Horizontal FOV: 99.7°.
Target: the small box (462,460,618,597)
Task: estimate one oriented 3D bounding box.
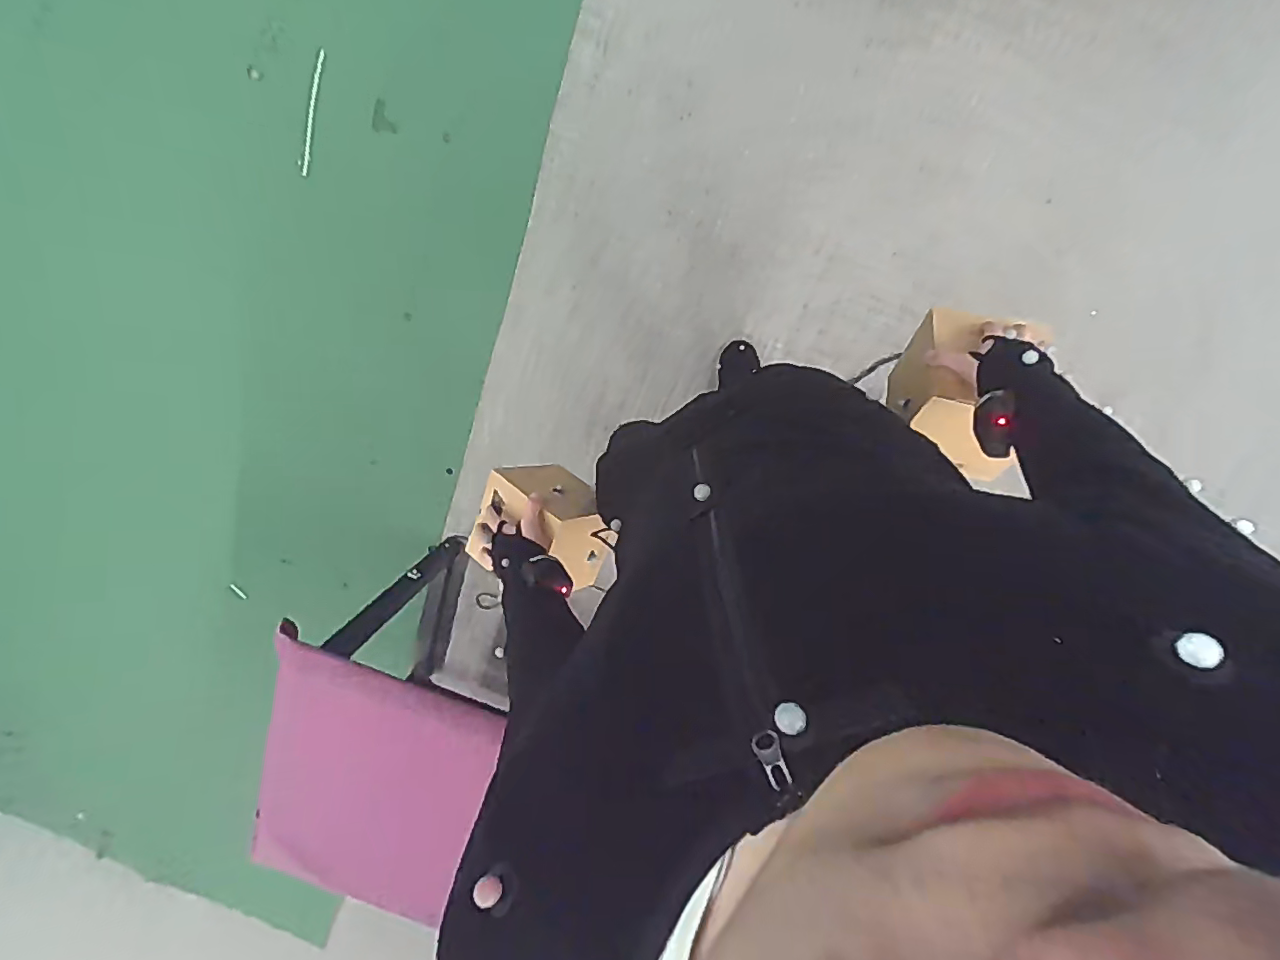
[{"bbox_3d":[-0.172,0.074,0.946,0.179,0.176,0.168,32,111,26],"label":"small box"}]

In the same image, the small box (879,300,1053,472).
[{"bbox_3d":[0.479,-0.135,0.818,0.168,0.179,0.176,14,152,6],"label":"small box"}]
